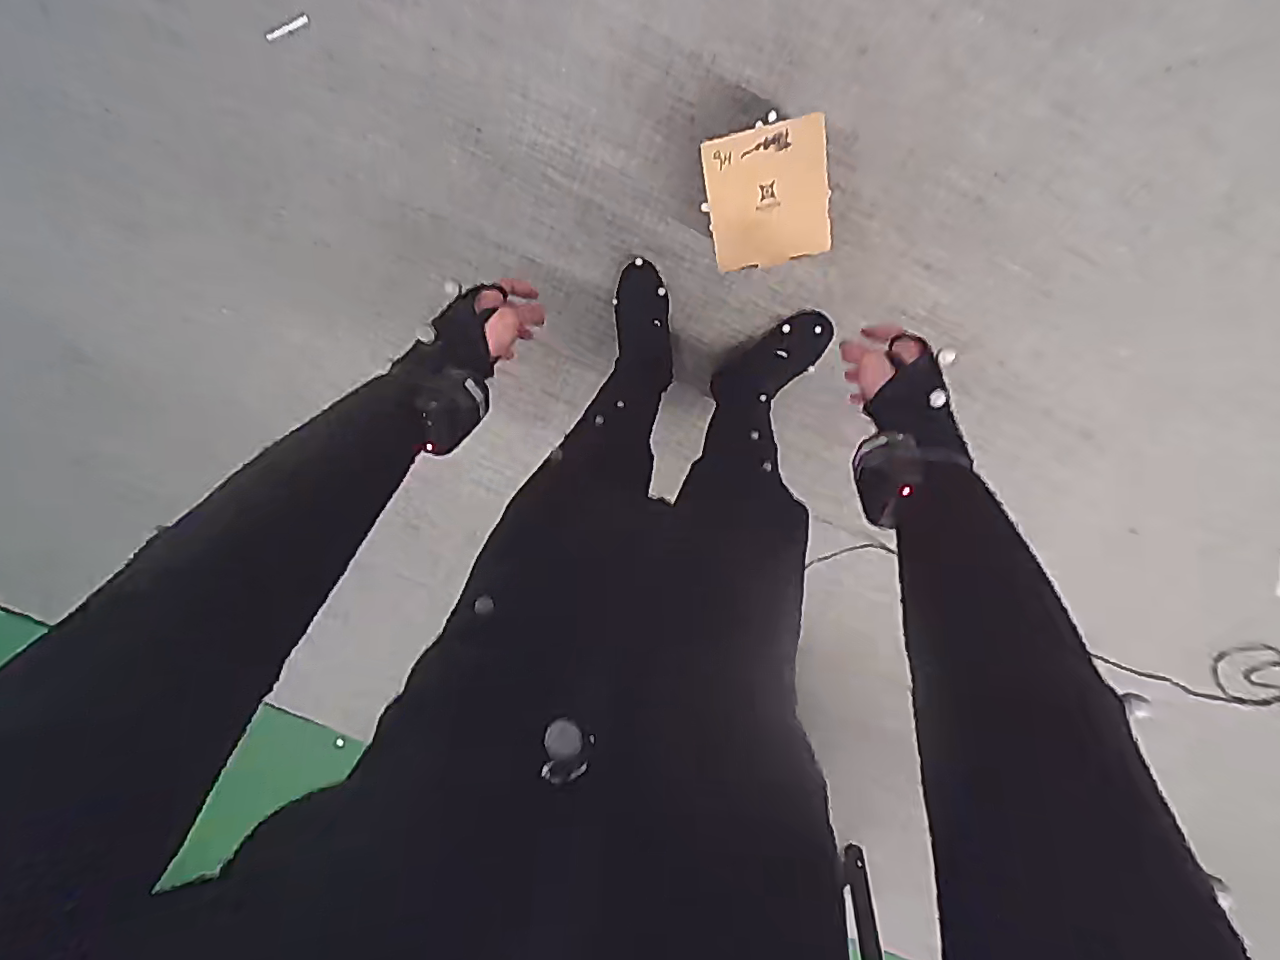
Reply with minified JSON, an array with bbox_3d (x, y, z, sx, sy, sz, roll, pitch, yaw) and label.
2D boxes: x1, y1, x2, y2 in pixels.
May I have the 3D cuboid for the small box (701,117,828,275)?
[{"bbox_3d":[0.190,-0.437,0.832,0.168,0.176,0.179,-7,120,13],"label":"small box"}]
